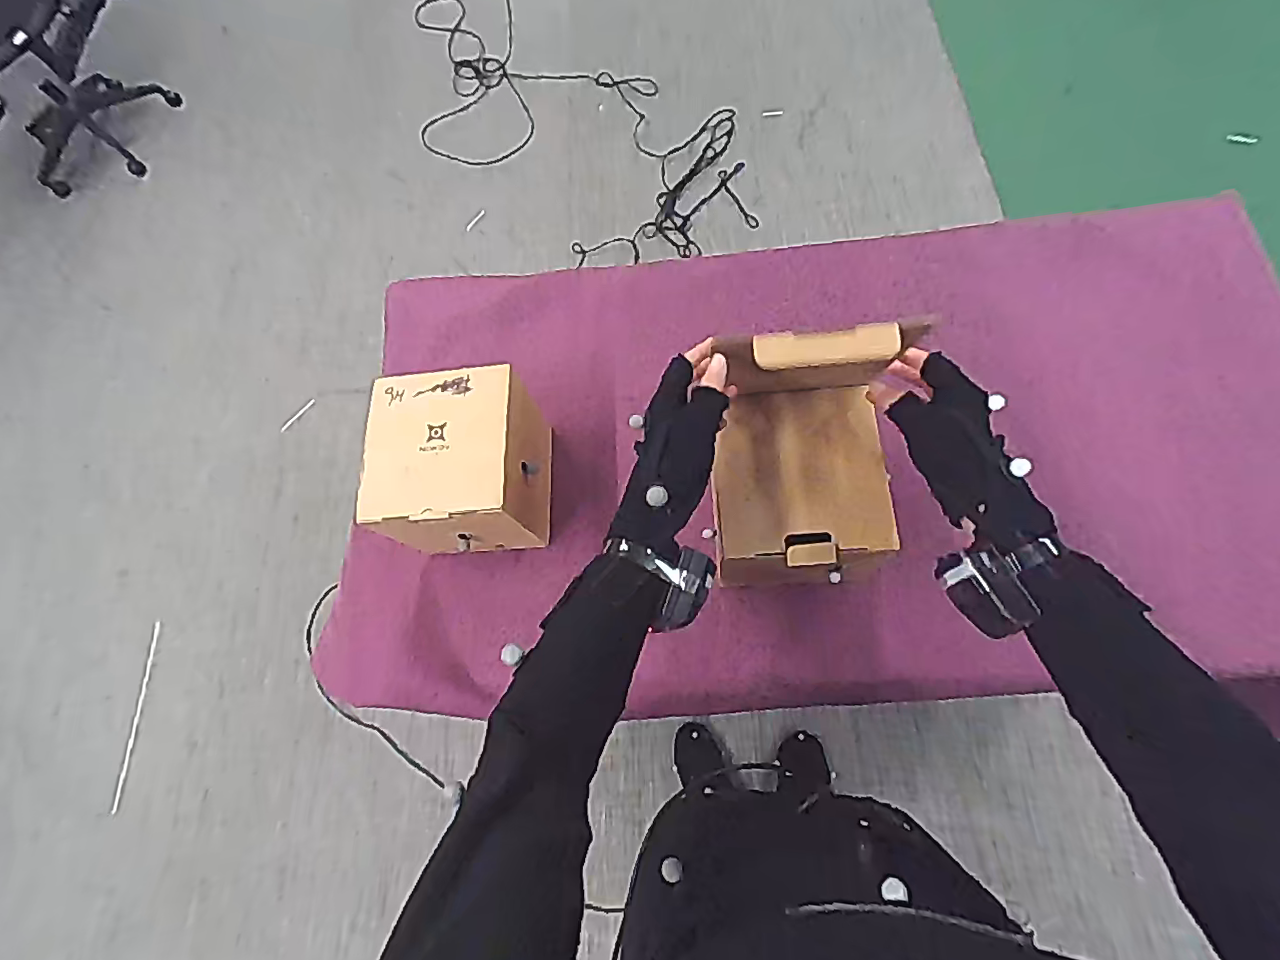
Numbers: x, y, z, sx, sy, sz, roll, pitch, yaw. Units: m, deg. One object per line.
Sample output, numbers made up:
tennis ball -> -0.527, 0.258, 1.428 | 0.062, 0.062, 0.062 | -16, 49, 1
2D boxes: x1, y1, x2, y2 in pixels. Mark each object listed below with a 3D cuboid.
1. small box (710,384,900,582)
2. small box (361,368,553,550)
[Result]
small box -> 0.167, 0.016, 0.601 | 0.168, 0.176, 0.179 | -4, 69, 6
small box -> -0.209, -0.013, 0.666 | 0.168, 0.176, 0.179 | -5, 70, 6
